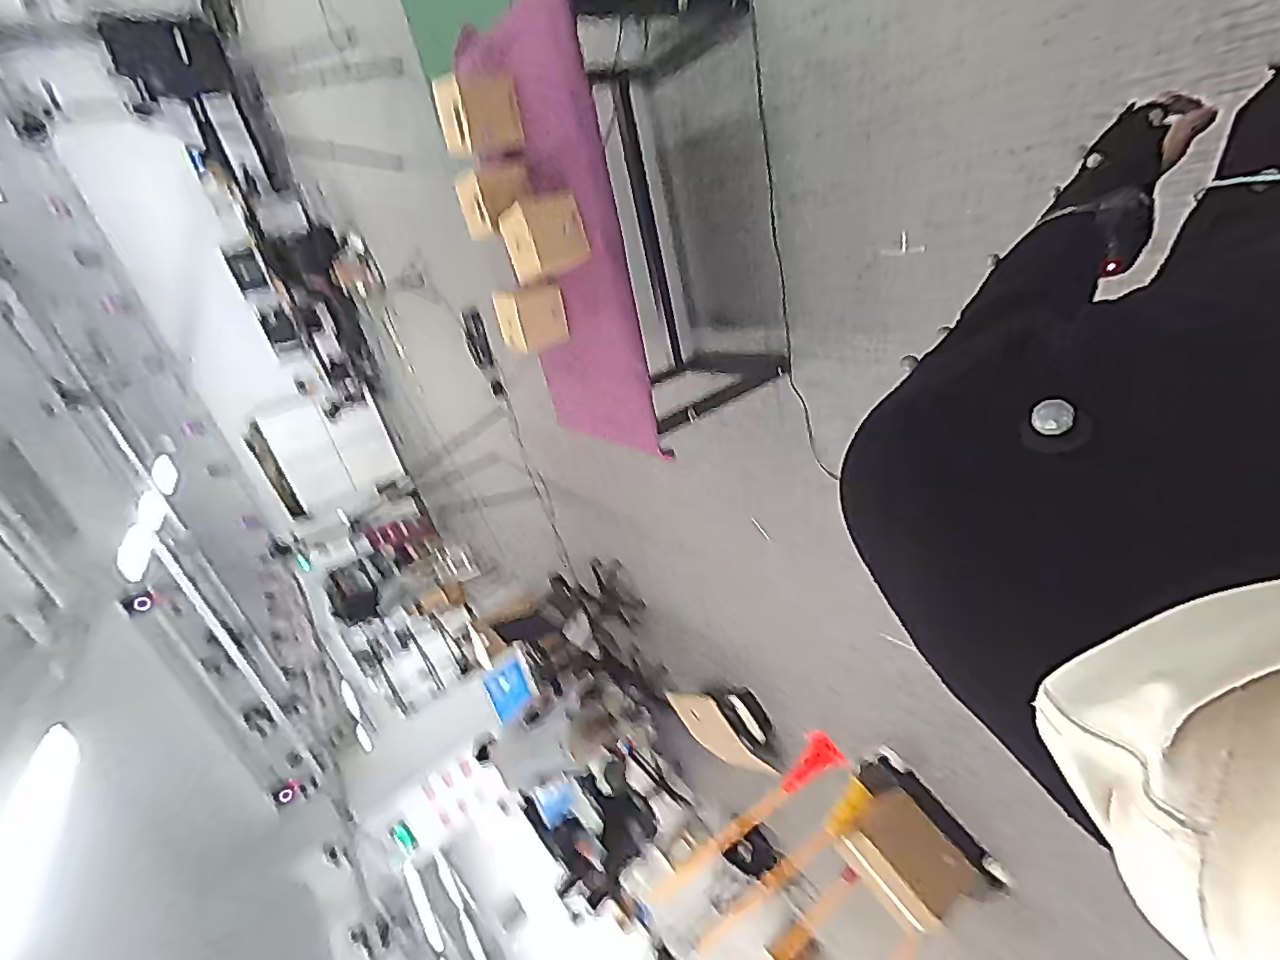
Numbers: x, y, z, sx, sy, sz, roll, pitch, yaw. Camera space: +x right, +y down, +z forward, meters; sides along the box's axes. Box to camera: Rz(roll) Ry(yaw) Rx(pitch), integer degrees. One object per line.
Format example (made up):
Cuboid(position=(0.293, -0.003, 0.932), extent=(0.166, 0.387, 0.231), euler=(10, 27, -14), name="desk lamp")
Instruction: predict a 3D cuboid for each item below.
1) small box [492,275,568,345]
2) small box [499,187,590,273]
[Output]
Cuboid(position=(-0.361, -0.570, 1.792), extent=(0.168, 0.176, 0.179), euler=(29, 137, 44), name="small box")
Cuboid(position=(-0.268, -0.702, 1.524), extent=(0.179, 0.176, 0.168), euler=(11, 124, 56), name="small box")
